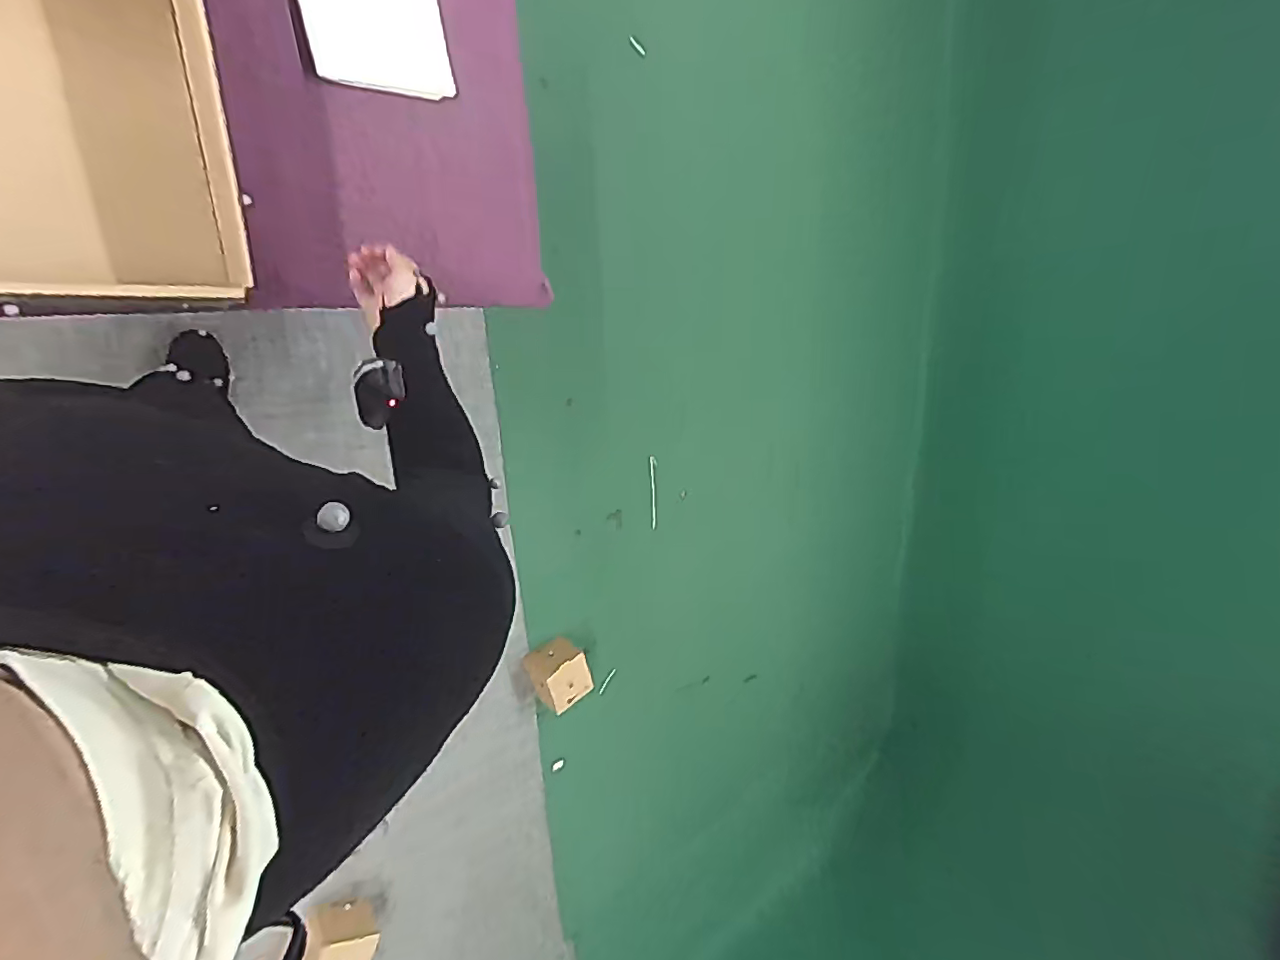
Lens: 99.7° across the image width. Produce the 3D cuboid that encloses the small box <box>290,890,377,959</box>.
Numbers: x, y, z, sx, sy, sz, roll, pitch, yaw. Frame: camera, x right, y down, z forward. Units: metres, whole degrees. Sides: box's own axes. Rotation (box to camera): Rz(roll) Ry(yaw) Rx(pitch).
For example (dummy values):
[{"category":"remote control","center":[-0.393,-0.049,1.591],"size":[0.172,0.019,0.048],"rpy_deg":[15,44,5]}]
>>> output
[{"category":"small box","center":[-0.930,1.393,1.630],"size":[0.168,0.176,0.179],"rpy_deg":[26,82,-42]}]

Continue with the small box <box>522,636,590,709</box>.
[{"category":"small box","center":[-0.315,0.702,2.006],"size":[0.168,0.176,0.179],"rpy_deg":[-28,117,-33]}]
